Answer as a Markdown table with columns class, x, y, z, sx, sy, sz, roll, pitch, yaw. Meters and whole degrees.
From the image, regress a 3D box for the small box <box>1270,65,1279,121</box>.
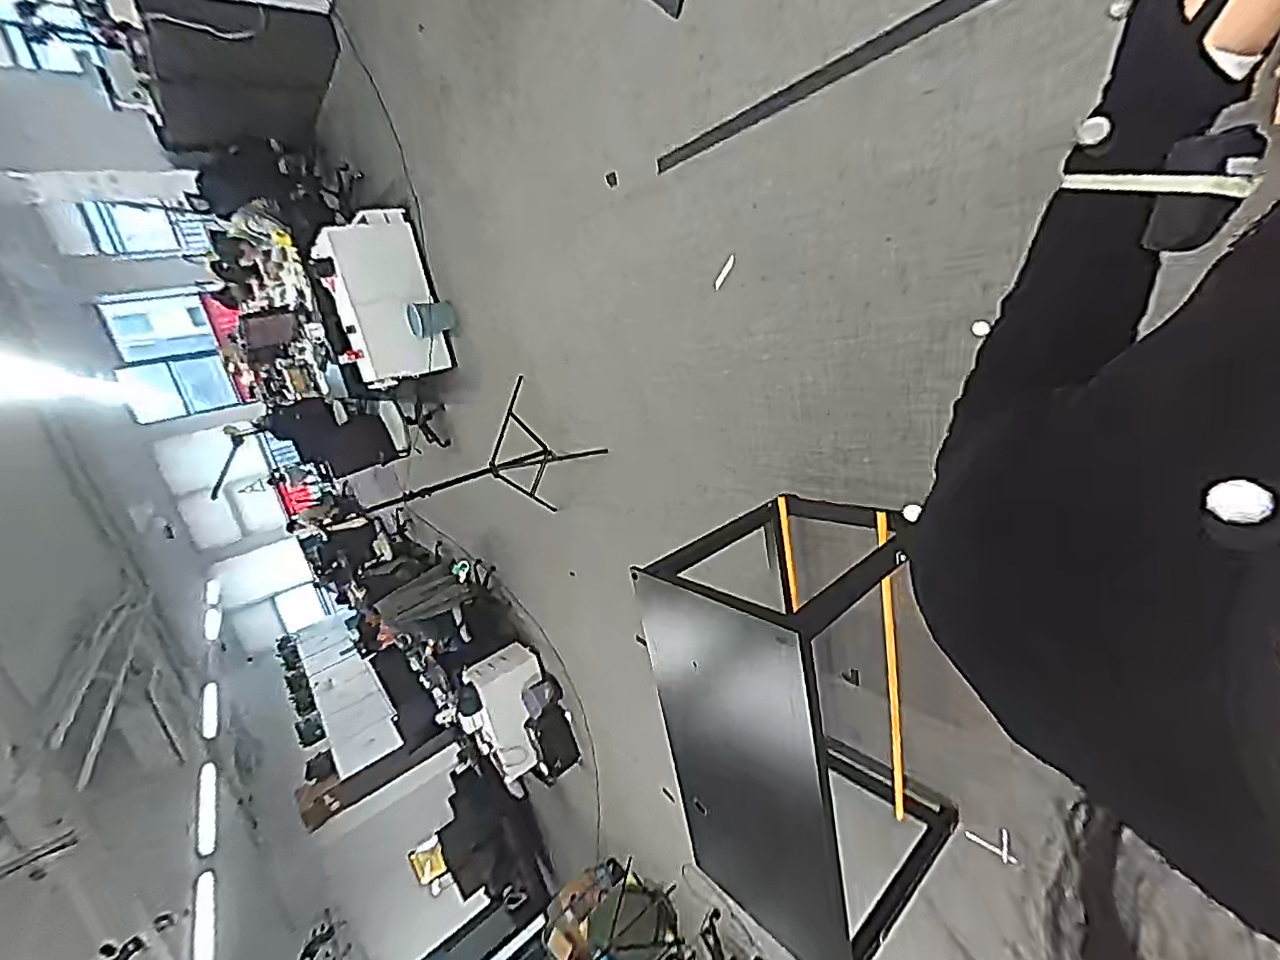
| class | x | y | z | sx | sy | sz | roll | pitch | yaw |
| --- | --- | --- | --- | --- | --- | --- | --- | --- | --- |
| small box | 1.051 | -0.640 | 0.770 | 0.168 | 0.176 | 0.179 | 14 | 121 | 51 |
